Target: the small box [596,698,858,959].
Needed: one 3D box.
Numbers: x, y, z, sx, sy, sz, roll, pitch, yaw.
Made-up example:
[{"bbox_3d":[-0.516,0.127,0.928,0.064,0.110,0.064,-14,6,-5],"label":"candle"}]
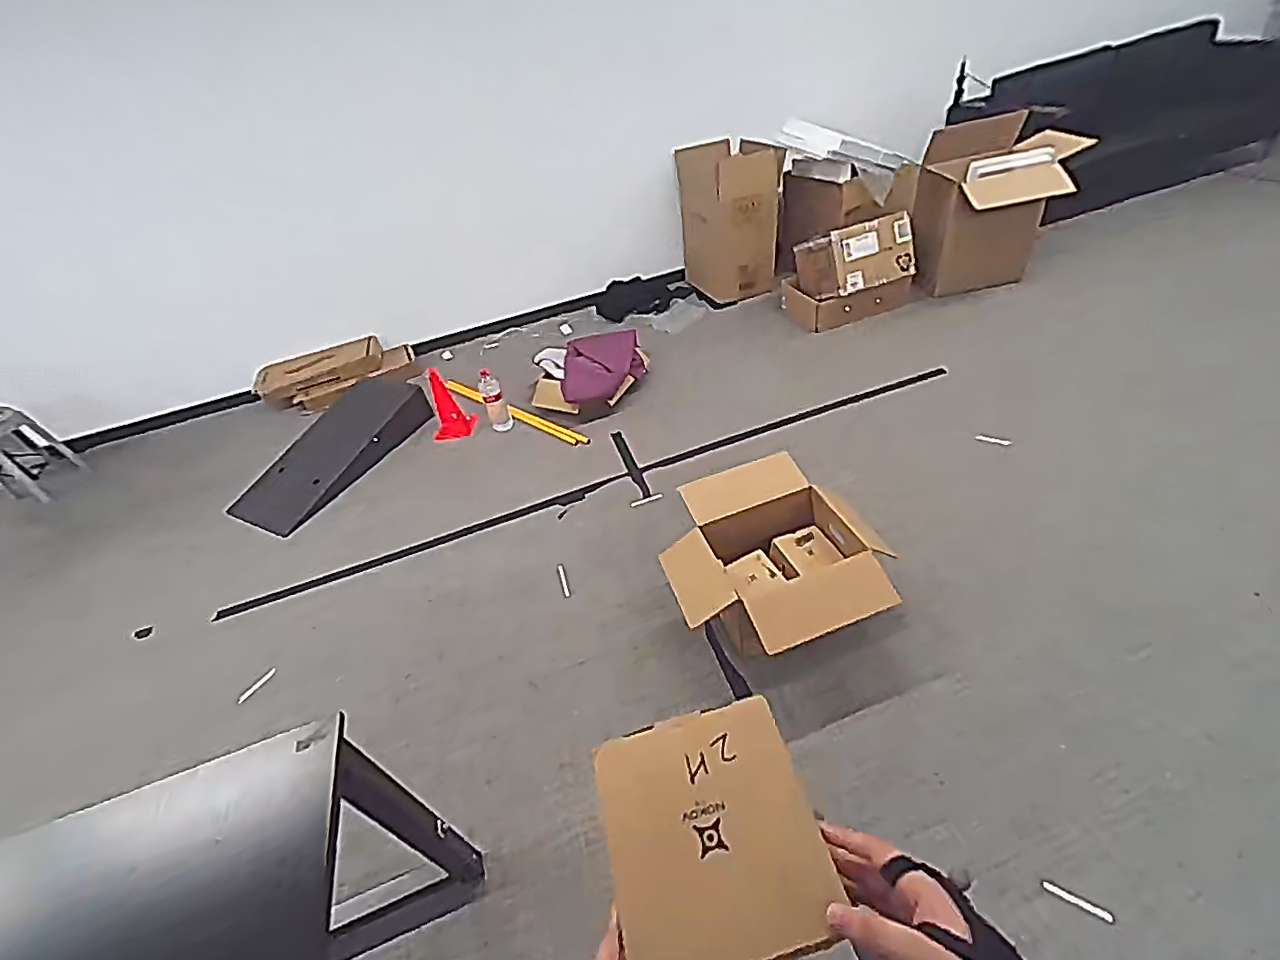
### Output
[{"bbox_3d":[0.068,0.331,0.485,0.168,0.176,0.179,-15,45,-4],"label":"small box"}]
